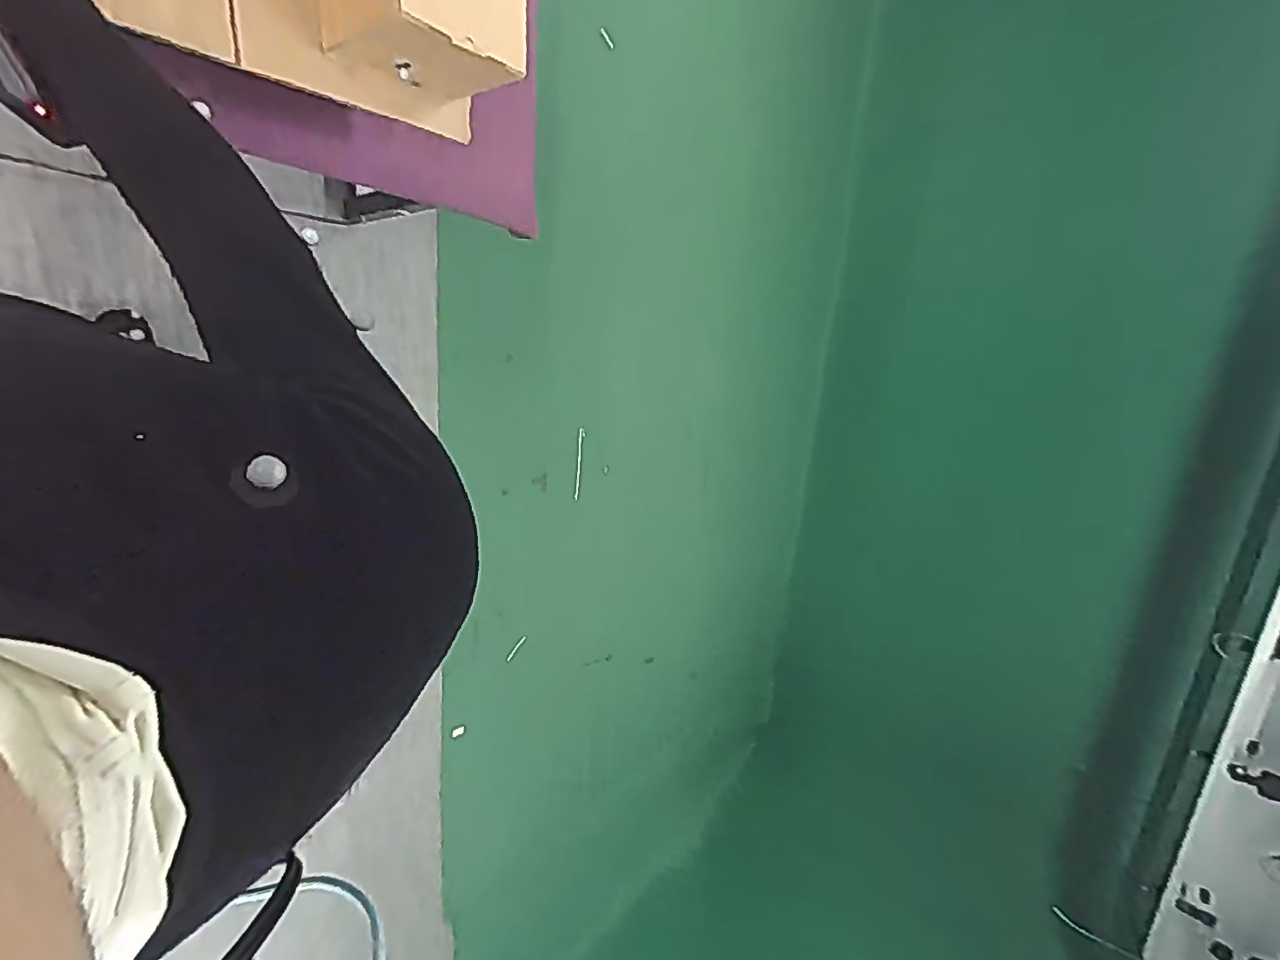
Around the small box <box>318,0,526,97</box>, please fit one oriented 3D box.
[{"bbox_3d":[-0.248,-0.574,0.614,0.168,0.176,0.179,-18,117,-51],"label":"small box"}]
